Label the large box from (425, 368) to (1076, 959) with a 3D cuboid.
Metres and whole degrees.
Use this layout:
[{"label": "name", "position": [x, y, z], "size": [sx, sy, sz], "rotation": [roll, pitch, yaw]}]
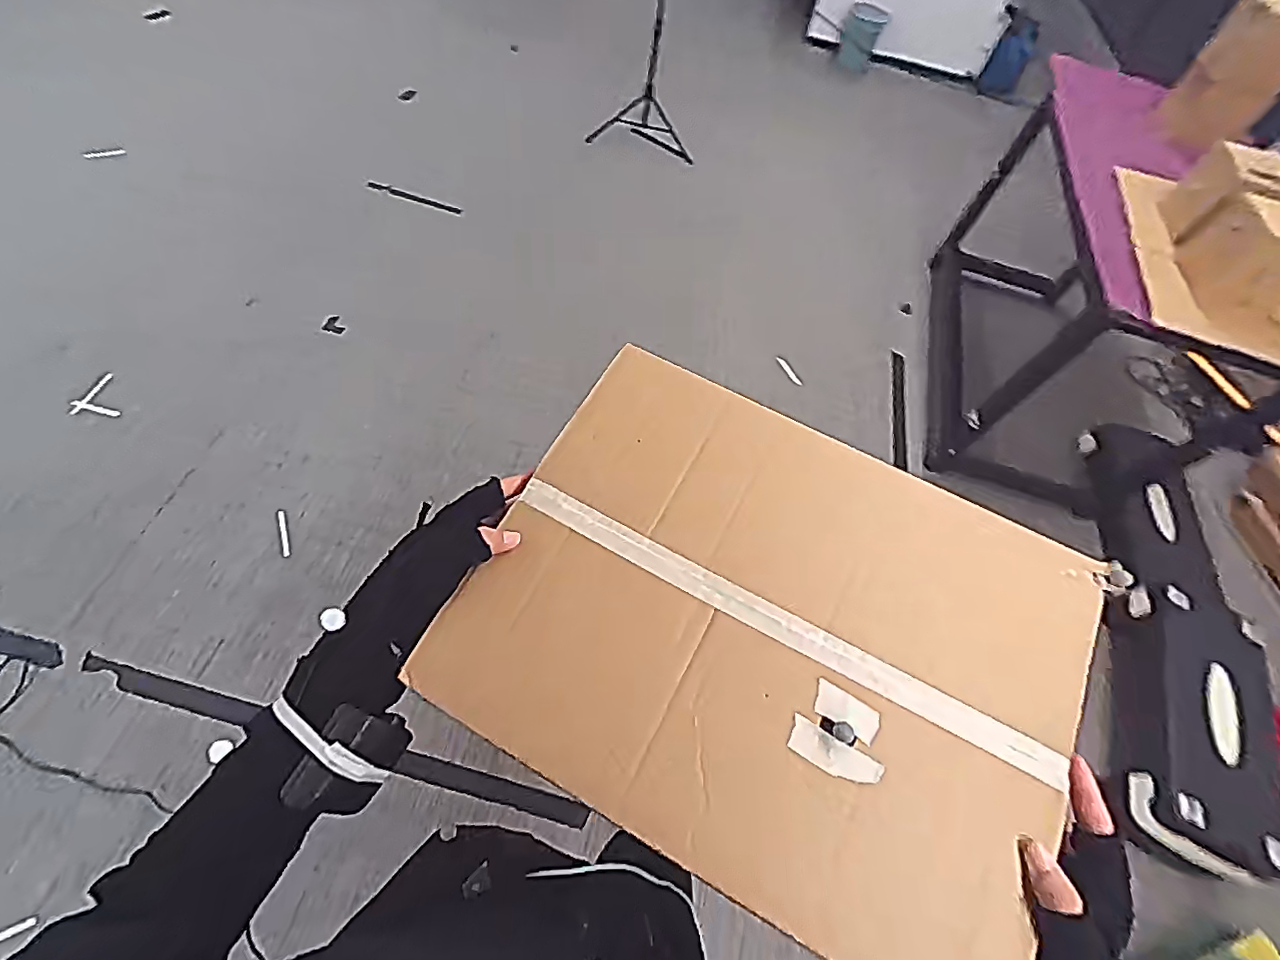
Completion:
[{"label": "large box", "position": [0.088, 0.164, 0.530], "size": [0.408, 0.320, 0.320], "rotation": [27, 69, 10]}]
